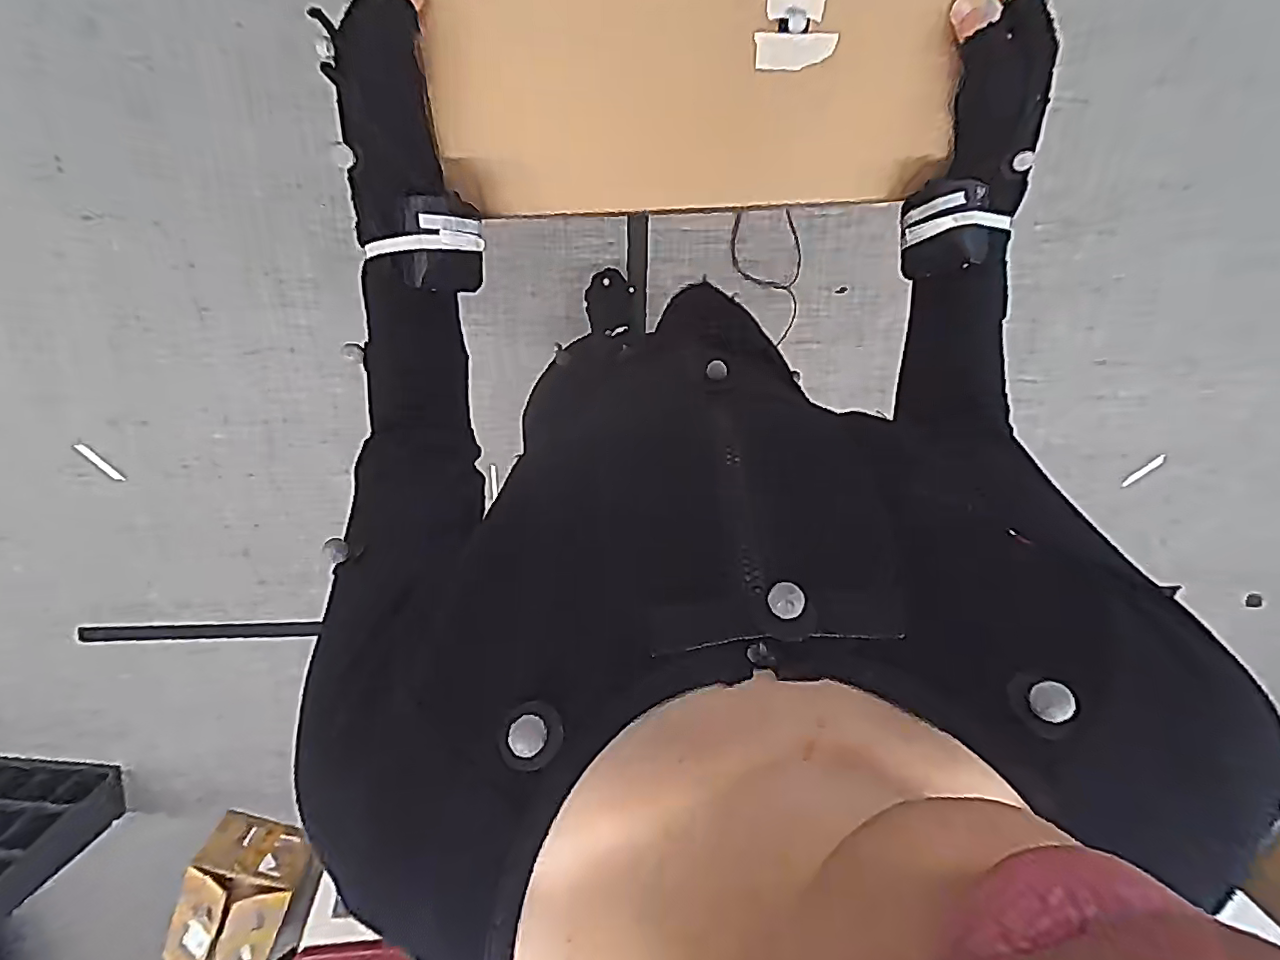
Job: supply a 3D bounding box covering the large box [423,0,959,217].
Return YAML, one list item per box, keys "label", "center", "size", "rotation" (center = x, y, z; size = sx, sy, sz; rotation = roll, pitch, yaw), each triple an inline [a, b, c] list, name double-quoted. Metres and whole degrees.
- label: "large box"
  center: [0.029, -0.437, 0.518]
  size: [0.408, 0.320, 0.320]
  rotation: [-4, 117, -3]
